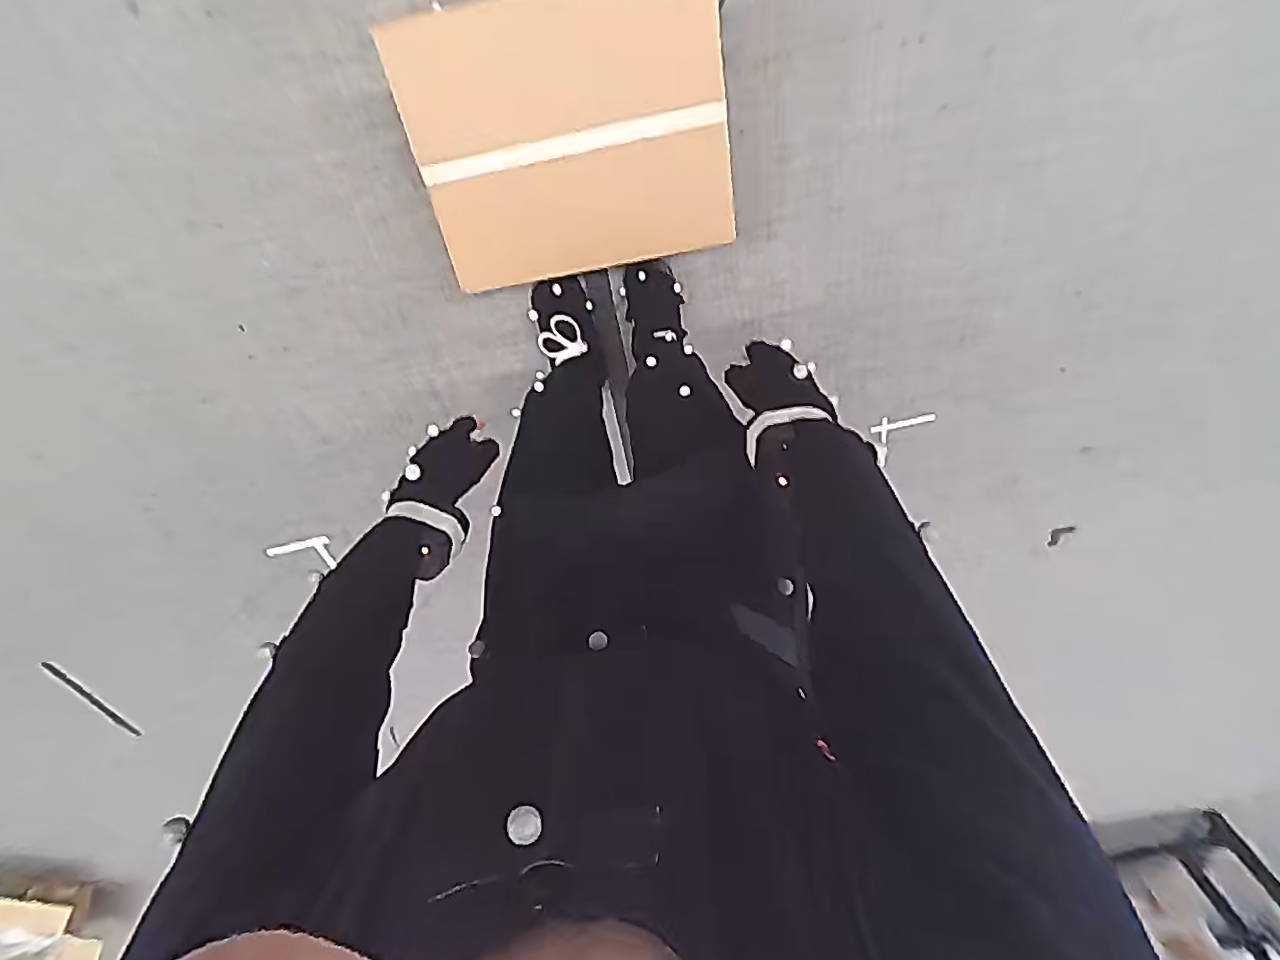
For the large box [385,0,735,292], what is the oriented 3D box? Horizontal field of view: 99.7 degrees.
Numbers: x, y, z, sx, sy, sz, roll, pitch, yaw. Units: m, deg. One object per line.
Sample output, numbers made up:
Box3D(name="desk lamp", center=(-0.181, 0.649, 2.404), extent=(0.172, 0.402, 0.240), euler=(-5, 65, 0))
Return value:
Box3D(name="large box", center=(-0.091, -0.519, 0.833), extent=(0.408, 0.320, 0.320), euler=(-9, 124, 4))
